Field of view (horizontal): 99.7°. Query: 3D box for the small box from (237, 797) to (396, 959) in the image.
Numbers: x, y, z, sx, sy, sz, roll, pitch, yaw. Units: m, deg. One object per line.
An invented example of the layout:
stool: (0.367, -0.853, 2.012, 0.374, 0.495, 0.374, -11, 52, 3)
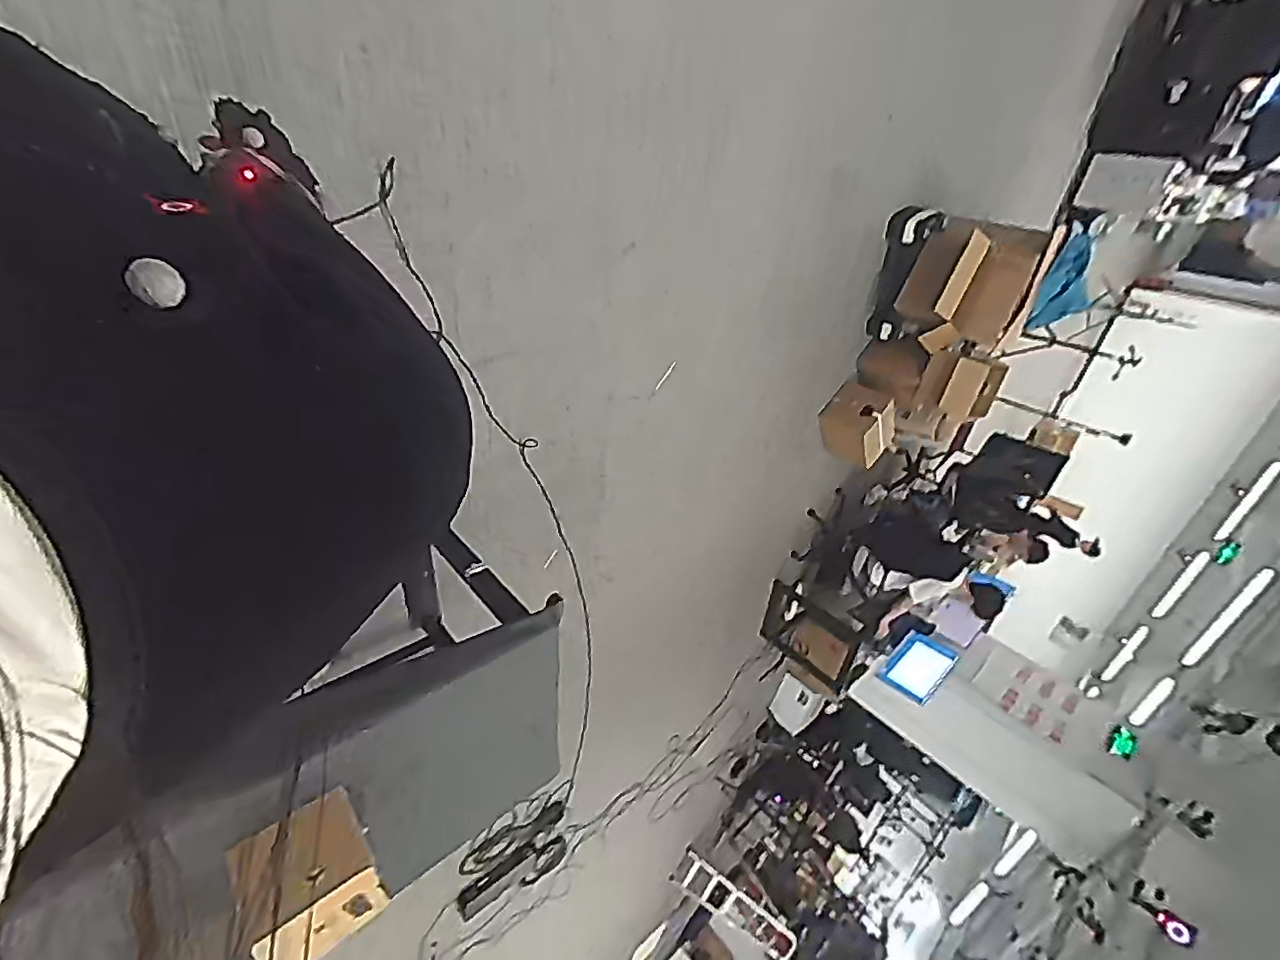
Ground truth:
small box: (-0.546, 0.691, 0.920, 0.179, 0.176, 0.168, -22, 131, -36)
